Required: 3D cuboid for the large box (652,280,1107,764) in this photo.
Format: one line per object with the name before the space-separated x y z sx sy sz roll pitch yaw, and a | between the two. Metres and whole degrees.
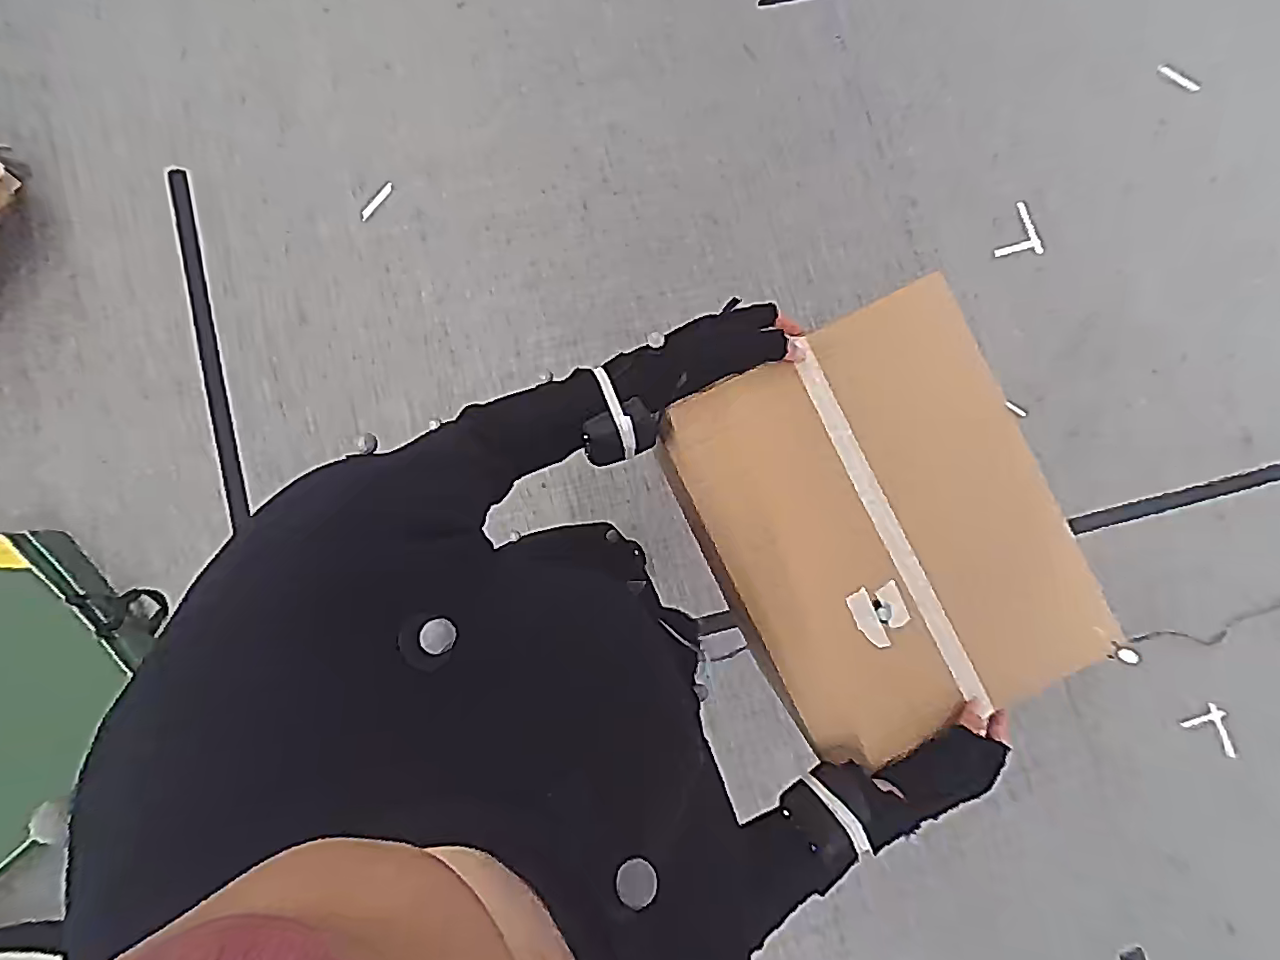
large box | 0.241 0.039 0.684 0.320 0.320 0.408 -26 91 1
